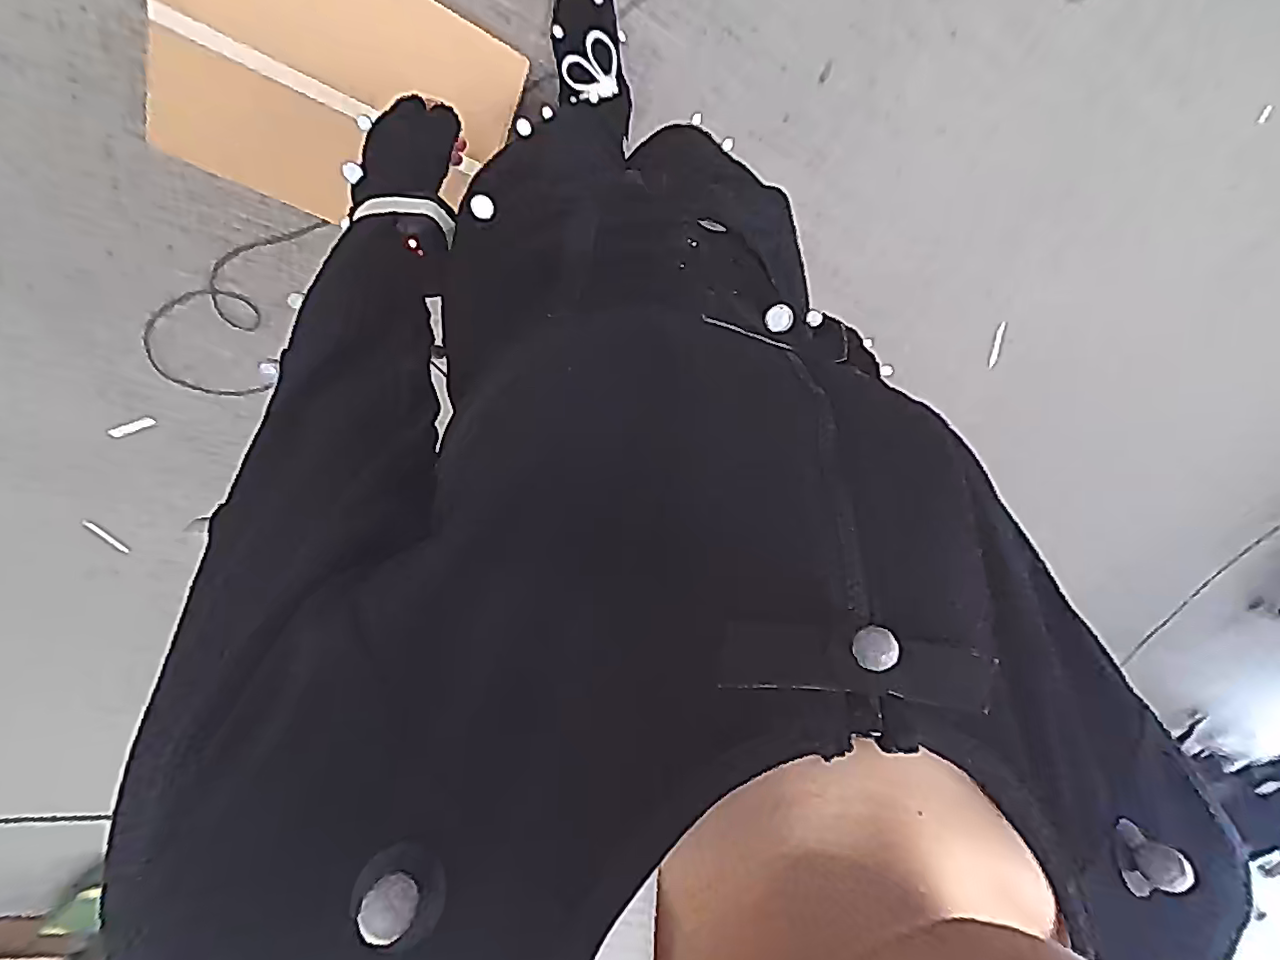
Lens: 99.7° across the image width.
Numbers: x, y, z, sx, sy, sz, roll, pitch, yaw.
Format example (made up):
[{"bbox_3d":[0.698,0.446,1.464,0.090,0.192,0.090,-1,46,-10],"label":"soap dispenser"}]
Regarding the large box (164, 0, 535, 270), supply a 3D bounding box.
[{"bbox_3d":[-0.411,-0.591,0.824,0.408,0.320,0.320,16,125,-26],"label":"large box"}]
